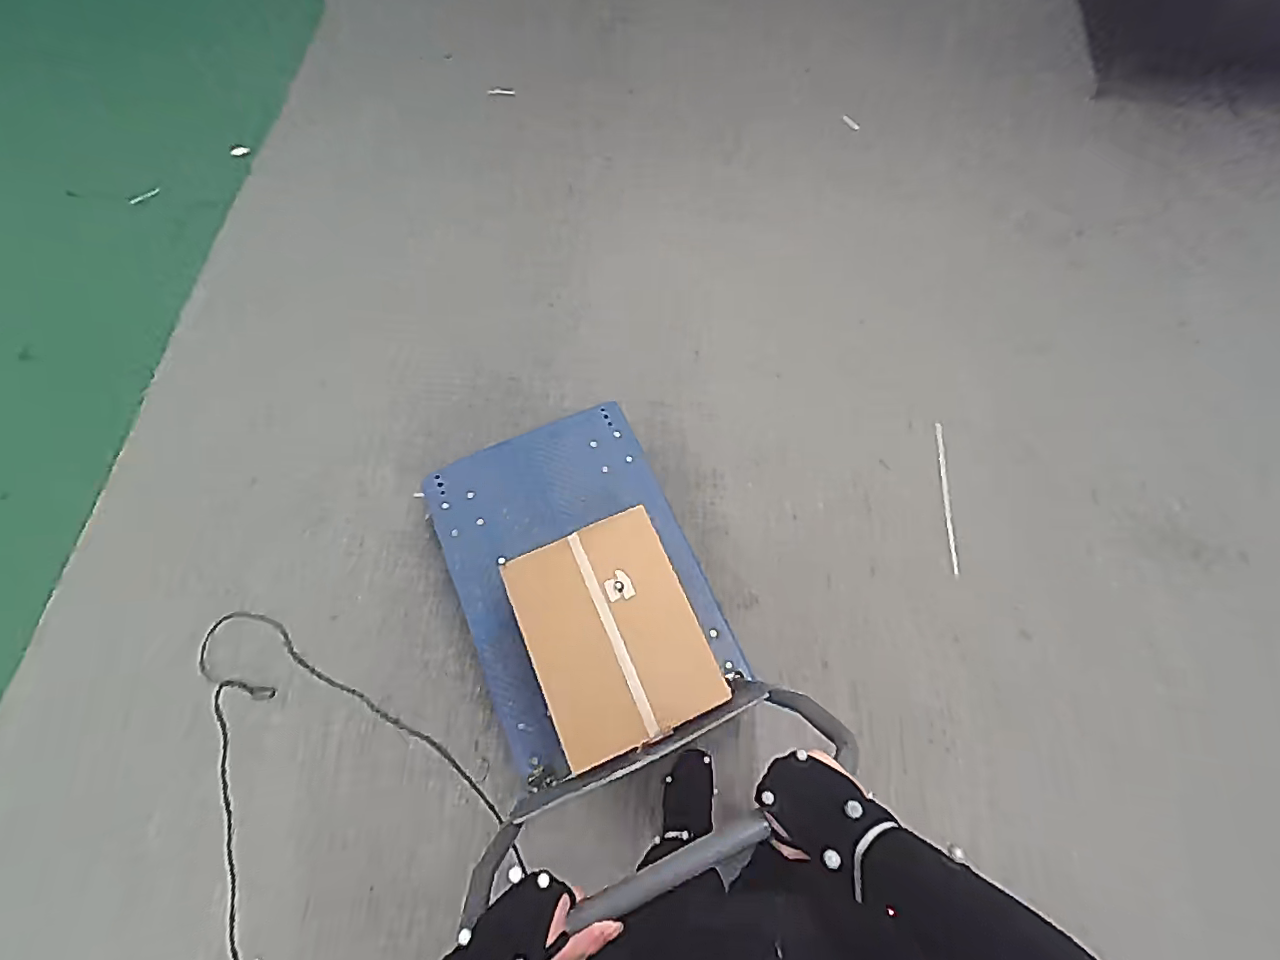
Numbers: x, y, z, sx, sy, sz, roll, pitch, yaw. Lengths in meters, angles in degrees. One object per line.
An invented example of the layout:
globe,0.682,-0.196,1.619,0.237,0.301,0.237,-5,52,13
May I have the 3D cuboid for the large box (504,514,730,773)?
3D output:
large box,-0.047,0.348,1.175,0.320,0.320,0.408,-23,70,-8
